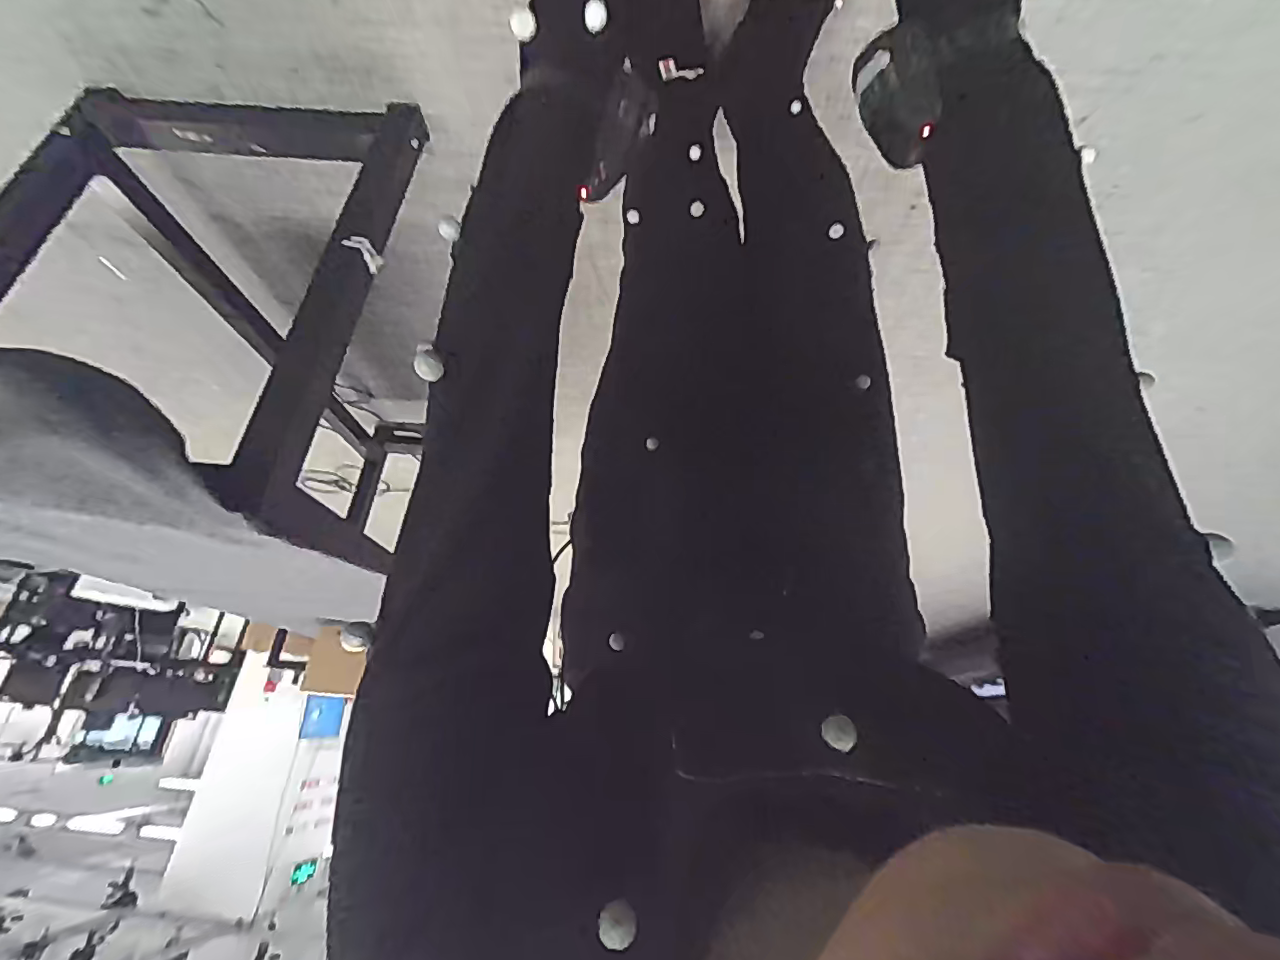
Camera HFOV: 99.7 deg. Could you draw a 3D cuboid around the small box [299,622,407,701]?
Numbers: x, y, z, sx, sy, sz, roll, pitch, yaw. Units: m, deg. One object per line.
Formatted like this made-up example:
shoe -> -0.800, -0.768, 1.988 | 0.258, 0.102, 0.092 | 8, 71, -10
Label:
small box -> -0.742, 0.479, 1.422 | 0.168, 0.176, 0.179 | 3, 155, 5
